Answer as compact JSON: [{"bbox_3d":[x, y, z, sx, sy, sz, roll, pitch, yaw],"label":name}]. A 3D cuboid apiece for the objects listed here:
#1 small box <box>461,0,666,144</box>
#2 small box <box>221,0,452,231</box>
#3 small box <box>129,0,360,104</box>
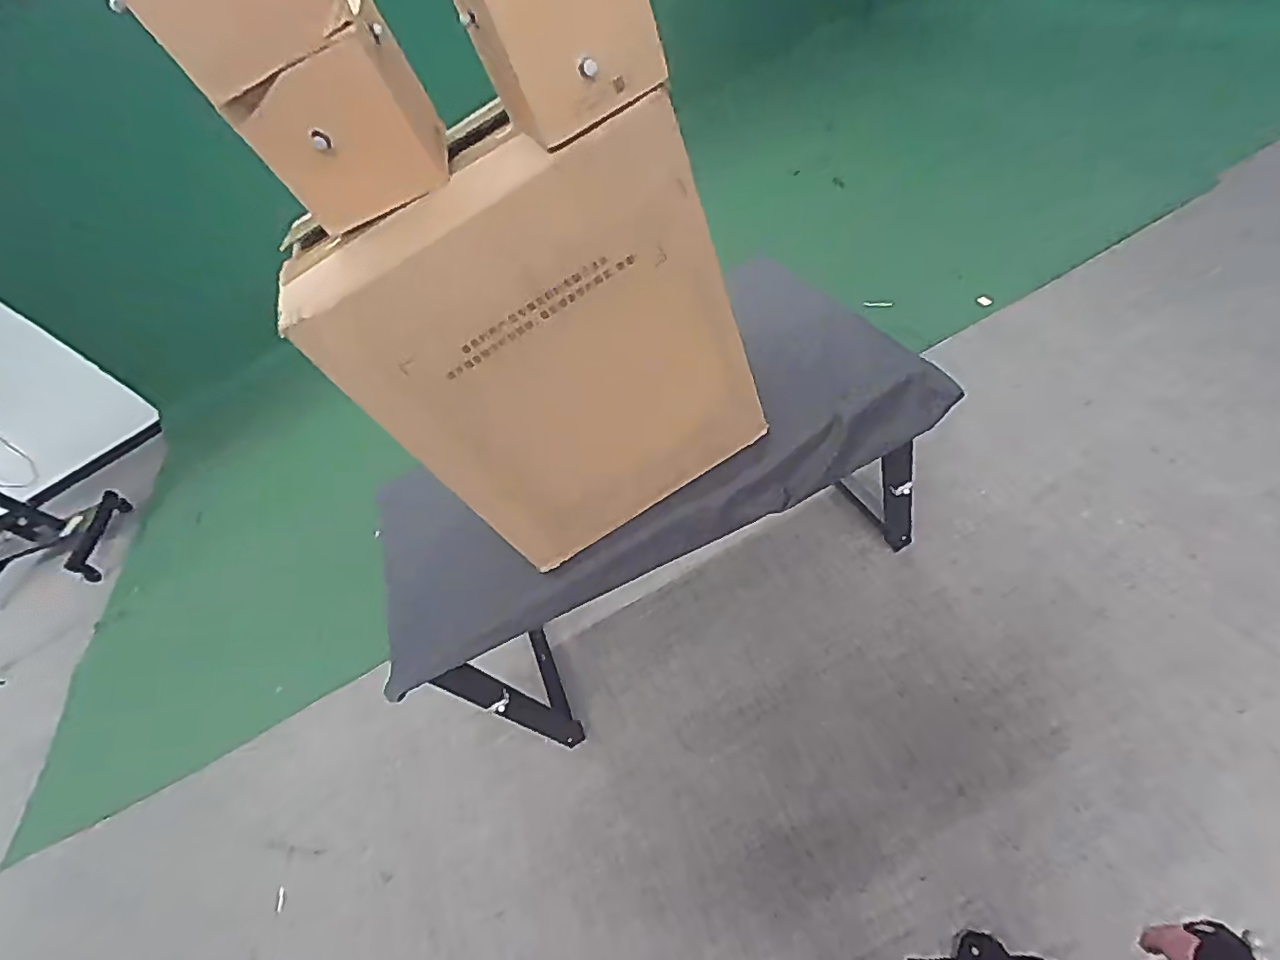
[{"bbox_3d":[-0.094,-0.519,0.618,0.168,0.176,0.179,-32,48,-1],"label":"small box"},{"bbox_3d":[-0.359,-0.449,0.674,0.179,0.176,0.168,-21,57,8],"label":"small box"},{"bbox_3d":[-0.424,-0.521,0.542,0.179,0.176,0.168,-35,56,-3],"label":"small box"}]
